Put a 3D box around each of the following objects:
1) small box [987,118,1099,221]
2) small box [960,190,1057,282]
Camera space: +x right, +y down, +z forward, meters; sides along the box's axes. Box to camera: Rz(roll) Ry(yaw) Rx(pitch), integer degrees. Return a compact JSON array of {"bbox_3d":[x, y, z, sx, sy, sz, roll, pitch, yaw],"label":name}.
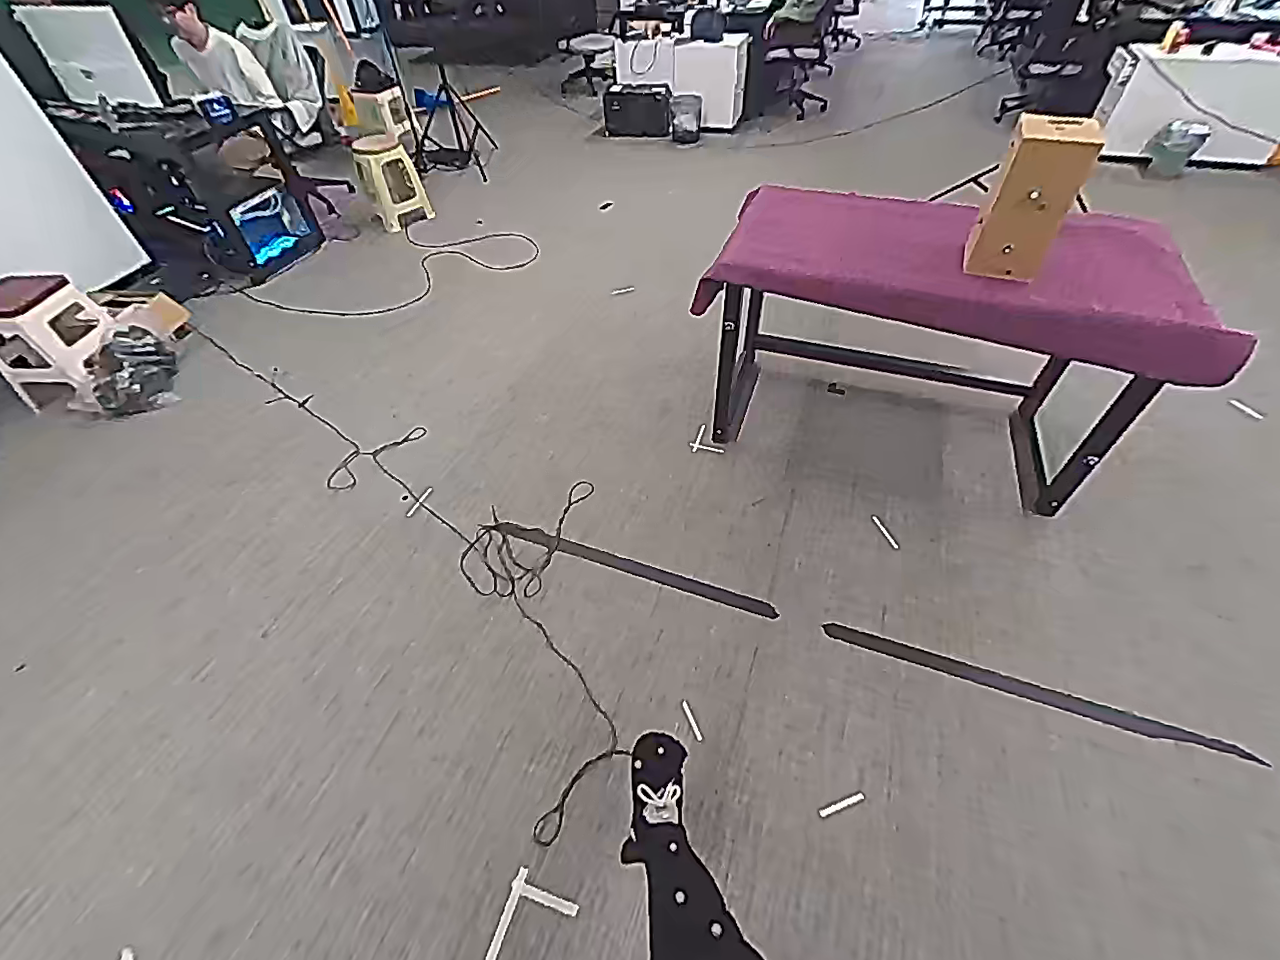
[{"bbox_3d":[0.984,-0.768,1.337,0.168,0.176,0.179,16,51,17],"label":"small box"},{"bbox_3d":[0.986,-0.656,1.457,0.168,0.176,0.179,17,51,16],"label":"small box"}]
